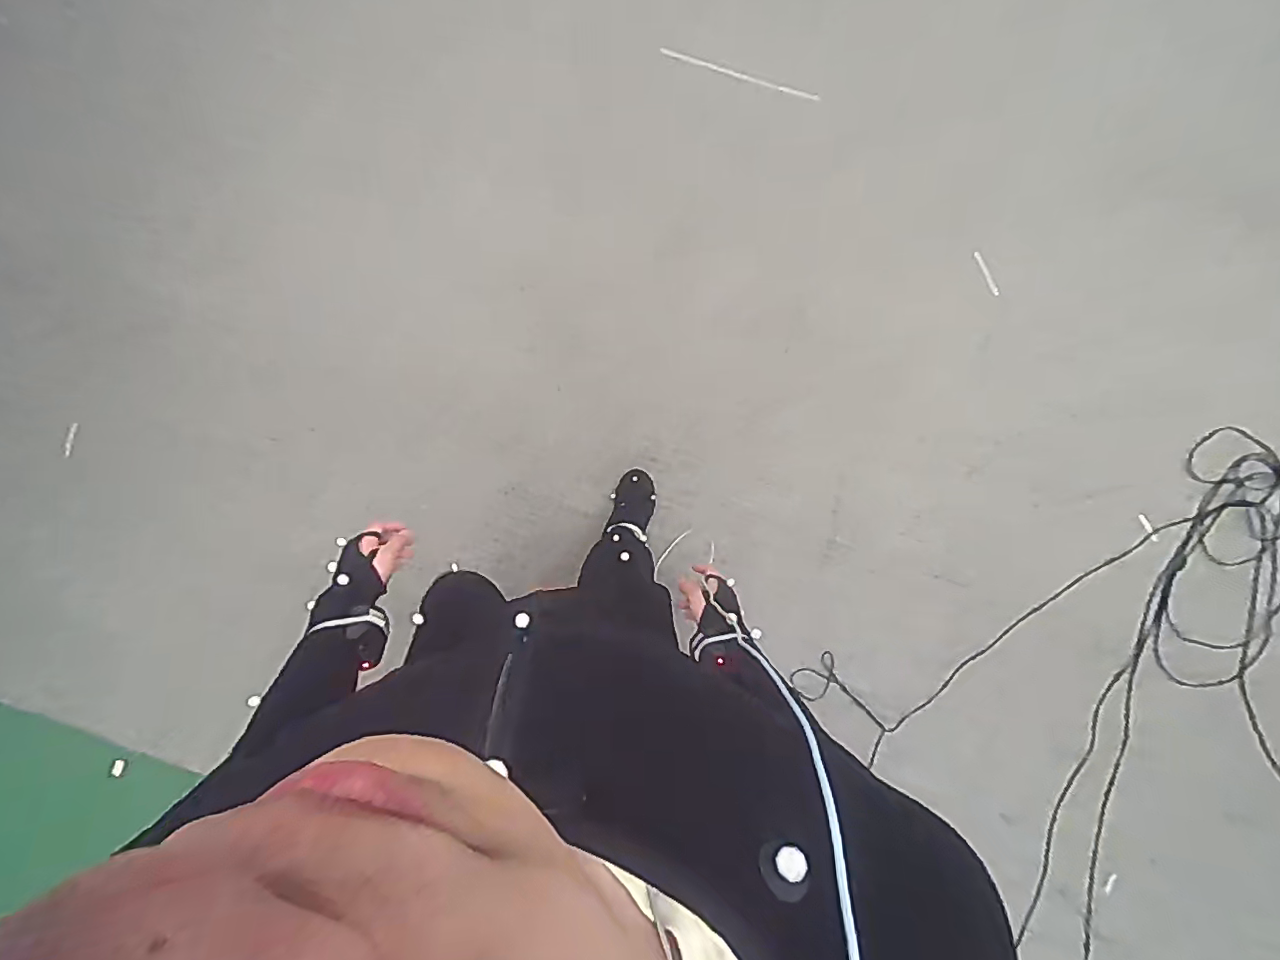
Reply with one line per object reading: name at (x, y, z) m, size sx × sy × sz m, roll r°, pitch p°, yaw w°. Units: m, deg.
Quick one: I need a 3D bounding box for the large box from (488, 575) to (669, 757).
large box at (-0.149, 0.496, 1.508) m, size 0.408 × 0.320 × 0.320 m, roll 17°, pitch 93°, yaw 2°
